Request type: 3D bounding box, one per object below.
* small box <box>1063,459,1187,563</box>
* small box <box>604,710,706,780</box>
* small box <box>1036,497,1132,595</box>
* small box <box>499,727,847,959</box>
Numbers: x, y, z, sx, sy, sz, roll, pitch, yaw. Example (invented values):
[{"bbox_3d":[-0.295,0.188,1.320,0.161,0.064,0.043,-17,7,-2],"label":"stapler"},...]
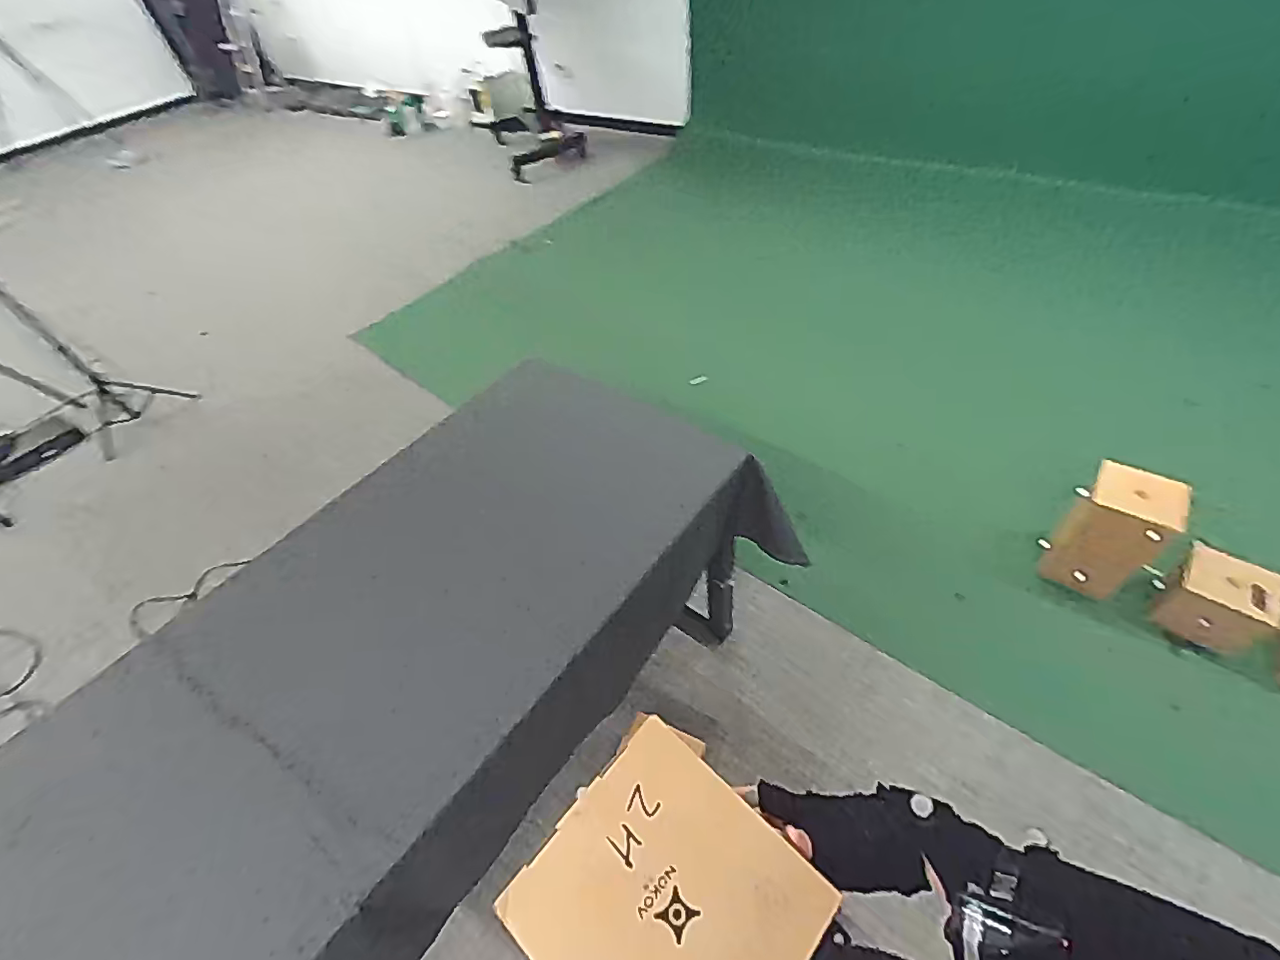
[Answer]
[{"bbox_3d":[1.222,0.082,1.374,0.179,0.176,0.168,26,57,27],"label":"small box"},{"bbox_3d":[0.042,0.673,1.259,0.179,0.176,0.168,17,55,22],"label":"small box"},{"bbox_3d":[1.237,0.186,1.499,0.168,0.176,0.179,27,59,28],"label":"small box"},{"bbox_3d":[0.023,0.329,0.428,0.179,0.176,0.168,38,66,22],"label":"small box"}]
